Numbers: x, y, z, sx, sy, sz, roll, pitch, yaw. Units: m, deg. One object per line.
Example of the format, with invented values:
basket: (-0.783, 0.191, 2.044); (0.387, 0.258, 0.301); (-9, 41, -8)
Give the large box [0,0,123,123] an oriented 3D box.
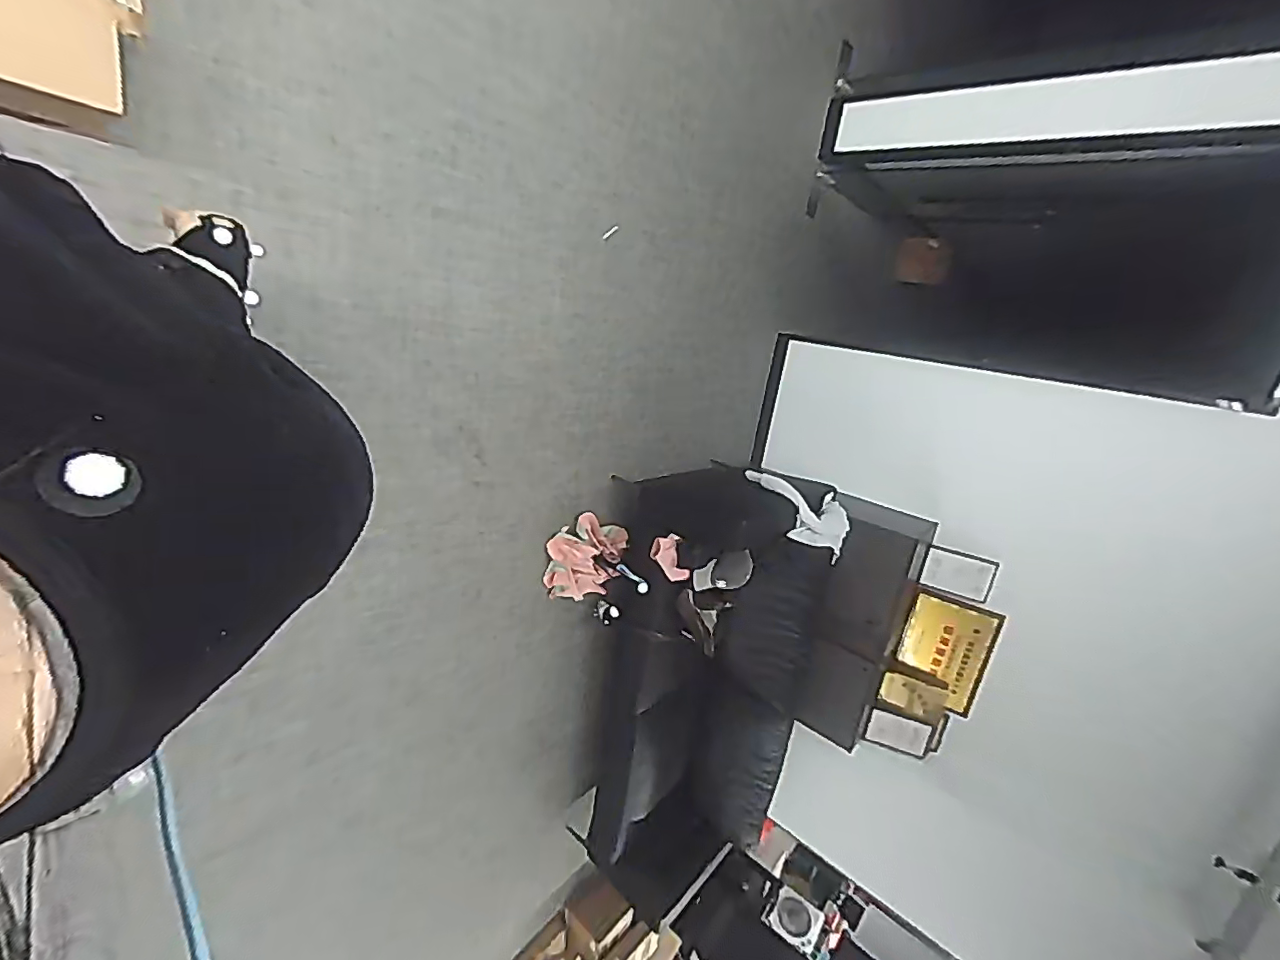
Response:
large box: (-1.000, -0.727, 0.721); (0.408, 0.320, 0.320); (-9, 114, -49)
